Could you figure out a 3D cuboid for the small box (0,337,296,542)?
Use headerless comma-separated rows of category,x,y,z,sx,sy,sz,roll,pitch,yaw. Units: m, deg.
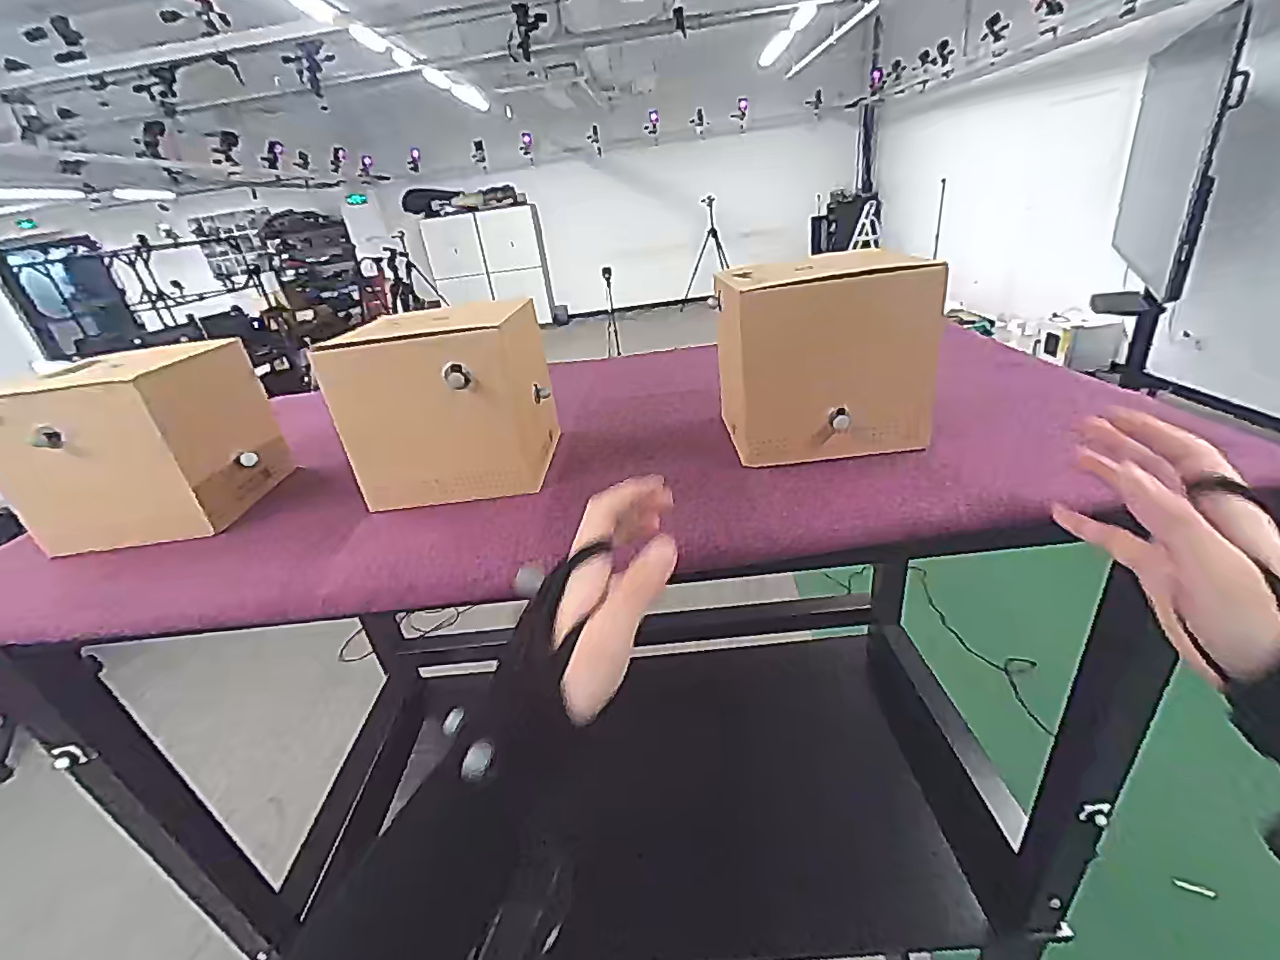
small box,-0.525,-0.046,0.585,0.179,0.176,0.168,-7,27,0

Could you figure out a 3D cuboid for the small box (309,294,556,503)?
small box,-0.196,-0.090,0.577,0.179,0.176,0.168,-7,26,4

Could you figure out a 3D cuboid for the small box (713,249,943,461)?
small box,0.173,-0.131,0.551,0.179,0.176,0.168,-6,25,4
